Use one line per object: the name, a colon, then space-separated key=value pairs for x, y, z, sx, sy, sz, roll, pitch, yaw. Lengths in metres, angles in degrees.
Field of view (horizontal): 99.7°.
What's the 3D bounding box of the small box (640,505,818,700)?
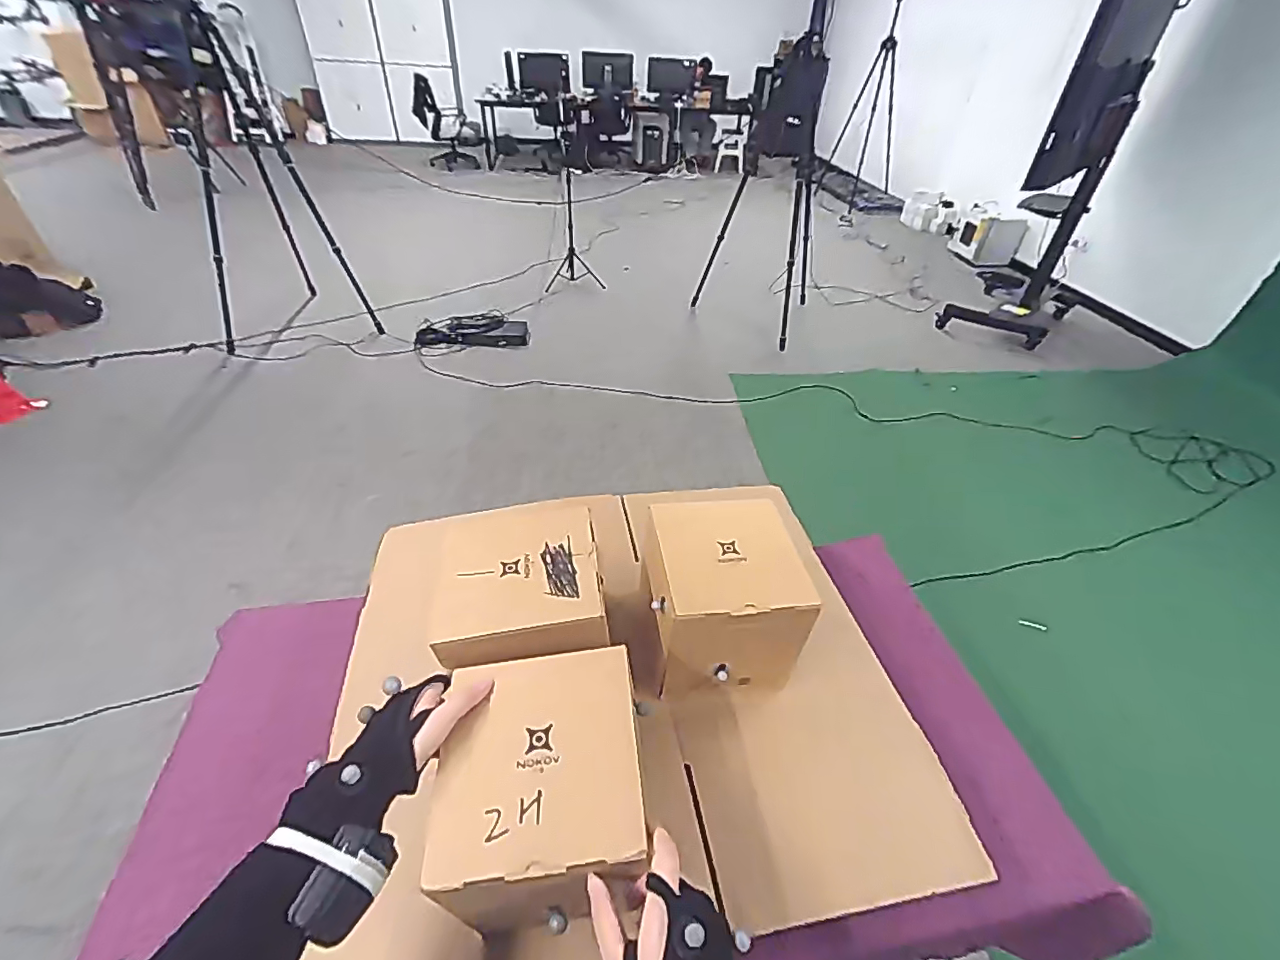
small box: x=0.096 y=0.151 z=0.688 sx=0.168 sy=0.176 sz=0.179 roll=-2 pitch=41 yaw=-9
